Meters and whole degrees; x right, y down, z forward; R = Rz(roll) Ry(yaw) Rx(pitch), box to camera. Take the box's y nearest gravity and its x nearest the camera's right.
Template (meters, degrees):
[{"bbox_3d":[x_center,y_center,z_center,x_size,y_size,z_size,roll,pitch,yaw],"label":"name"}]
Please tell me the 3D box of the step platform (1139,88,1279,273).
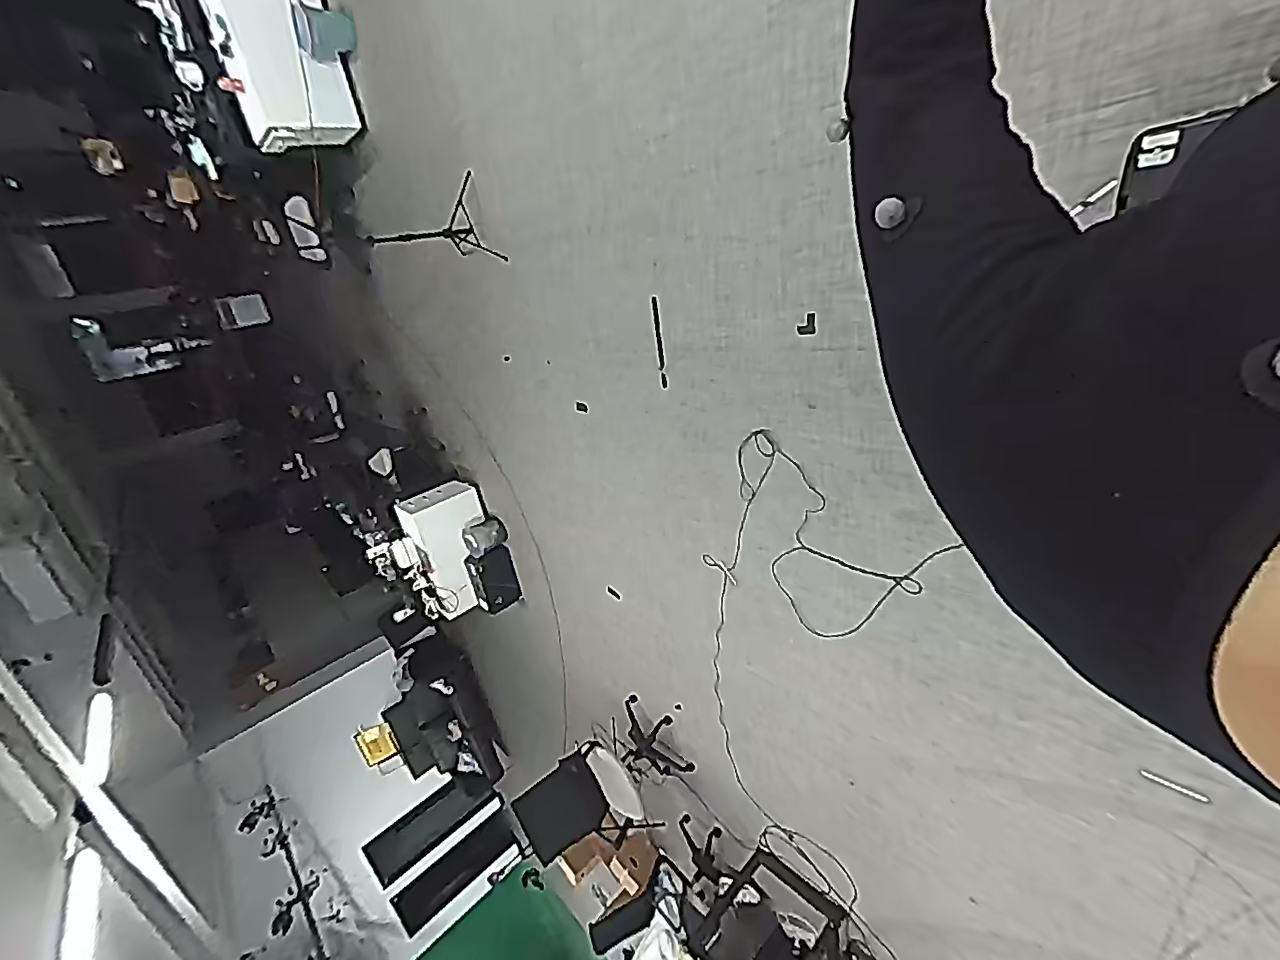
[{"bbox_3d":[1.250,-0.521,0.852,0.684,0.204,0.286,11,121,46],"label":"step platform"}]
